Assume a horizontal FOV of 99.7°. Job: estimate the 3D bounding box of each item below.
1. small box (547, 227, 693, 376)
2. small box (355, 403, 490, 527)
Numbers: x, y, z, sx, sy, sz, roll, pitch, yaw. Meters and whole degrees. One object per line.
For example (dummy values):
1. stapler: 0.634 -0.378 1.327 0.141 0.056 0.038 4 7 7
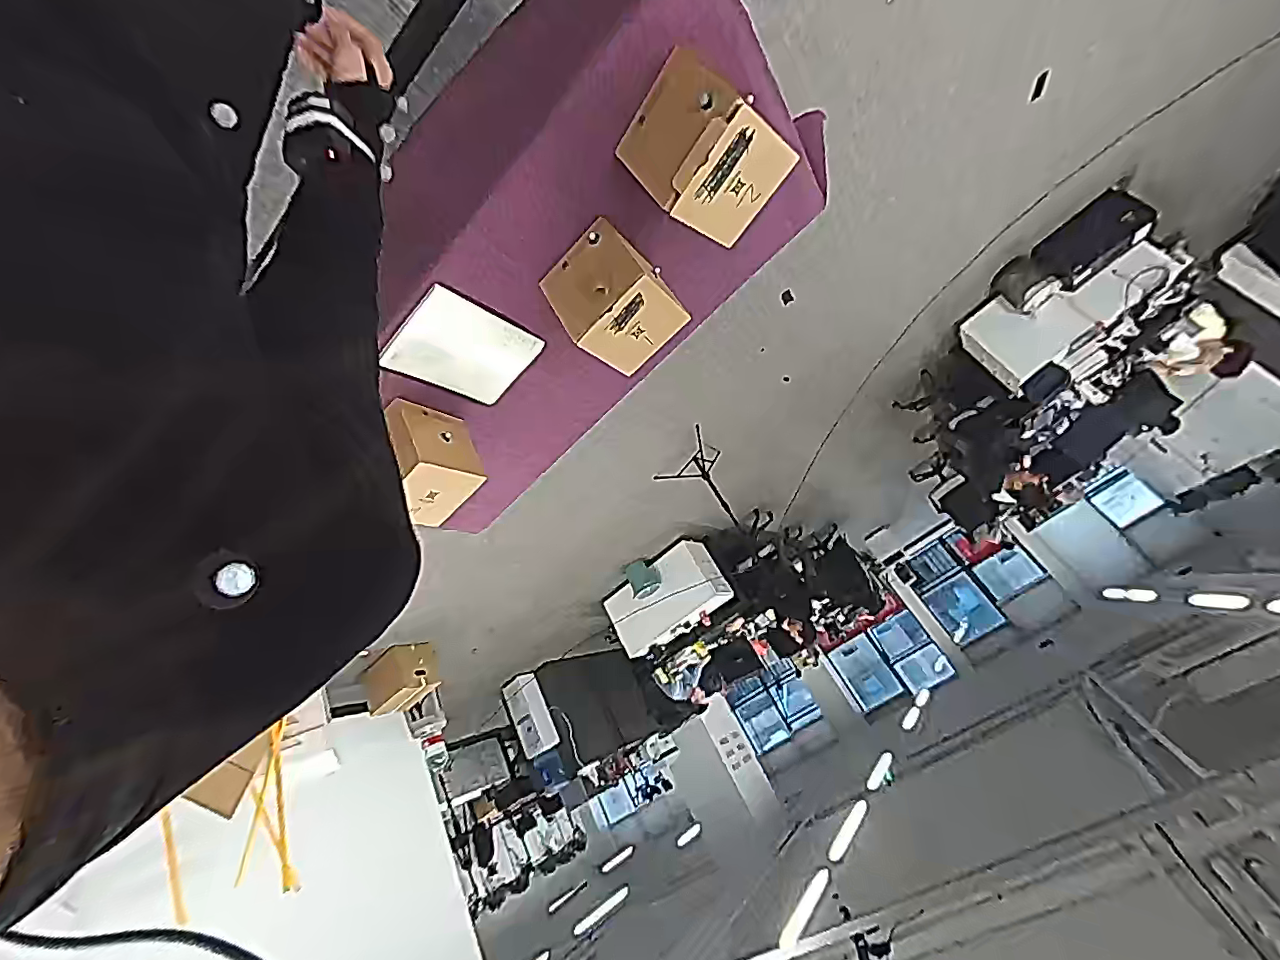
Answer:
1. small box: -0.040 -0.327 0.992 0.168 0.176 0.179 -40 153 19
2. small box: -0.445 -0.028 1.094 0.179 0.176 0.168 -40 153 18
